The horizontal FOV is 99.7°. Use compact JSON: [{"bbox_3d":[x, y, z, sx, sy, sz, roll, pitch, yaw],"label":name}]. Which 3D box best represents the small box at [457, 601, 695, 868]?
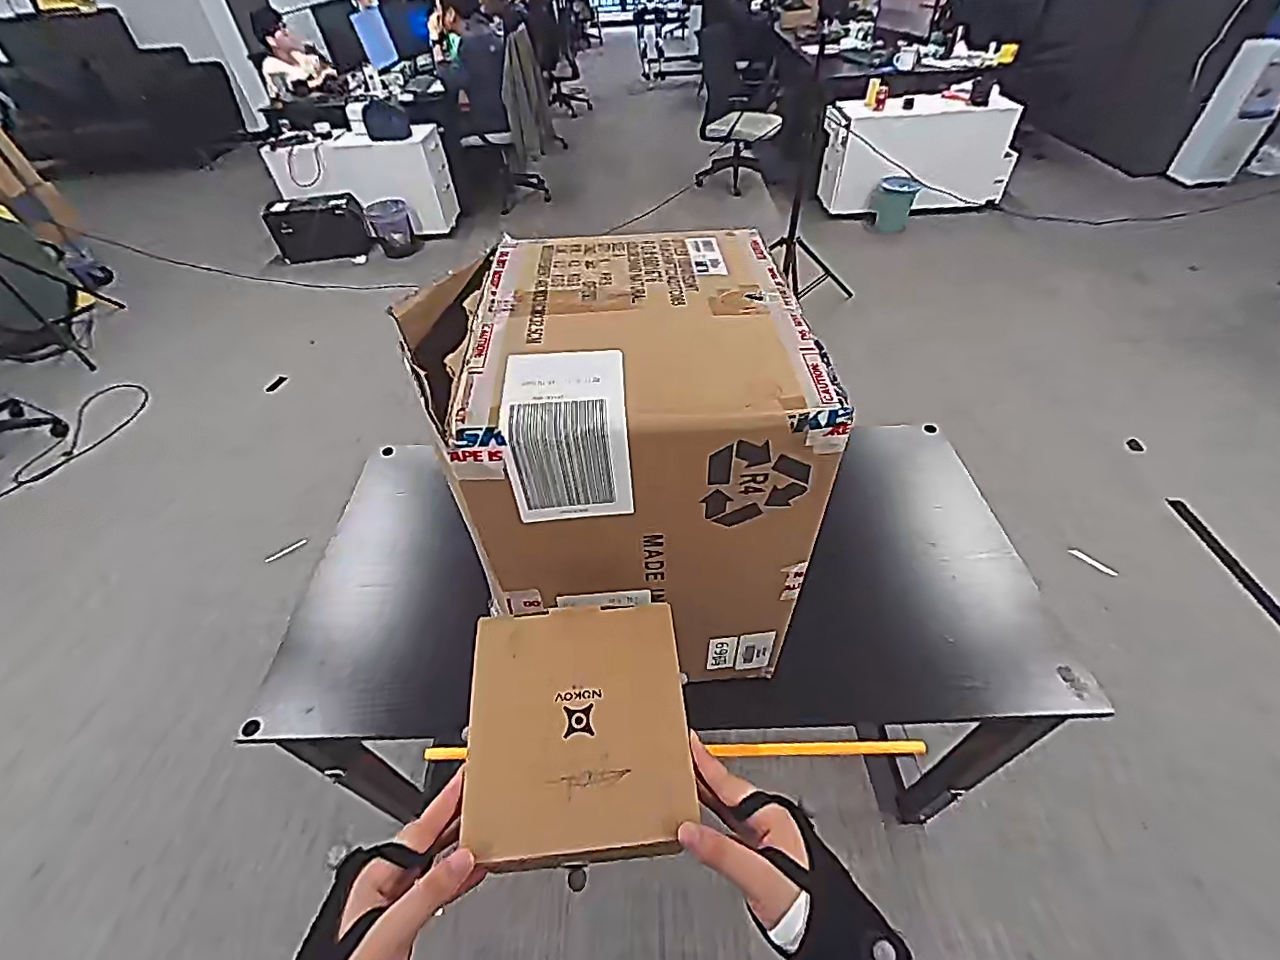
[{"bbox_3d":[-0.052,0.227,0.481,0.168,0.176,0.179,-4,53,-4],"label":"small box"}]
